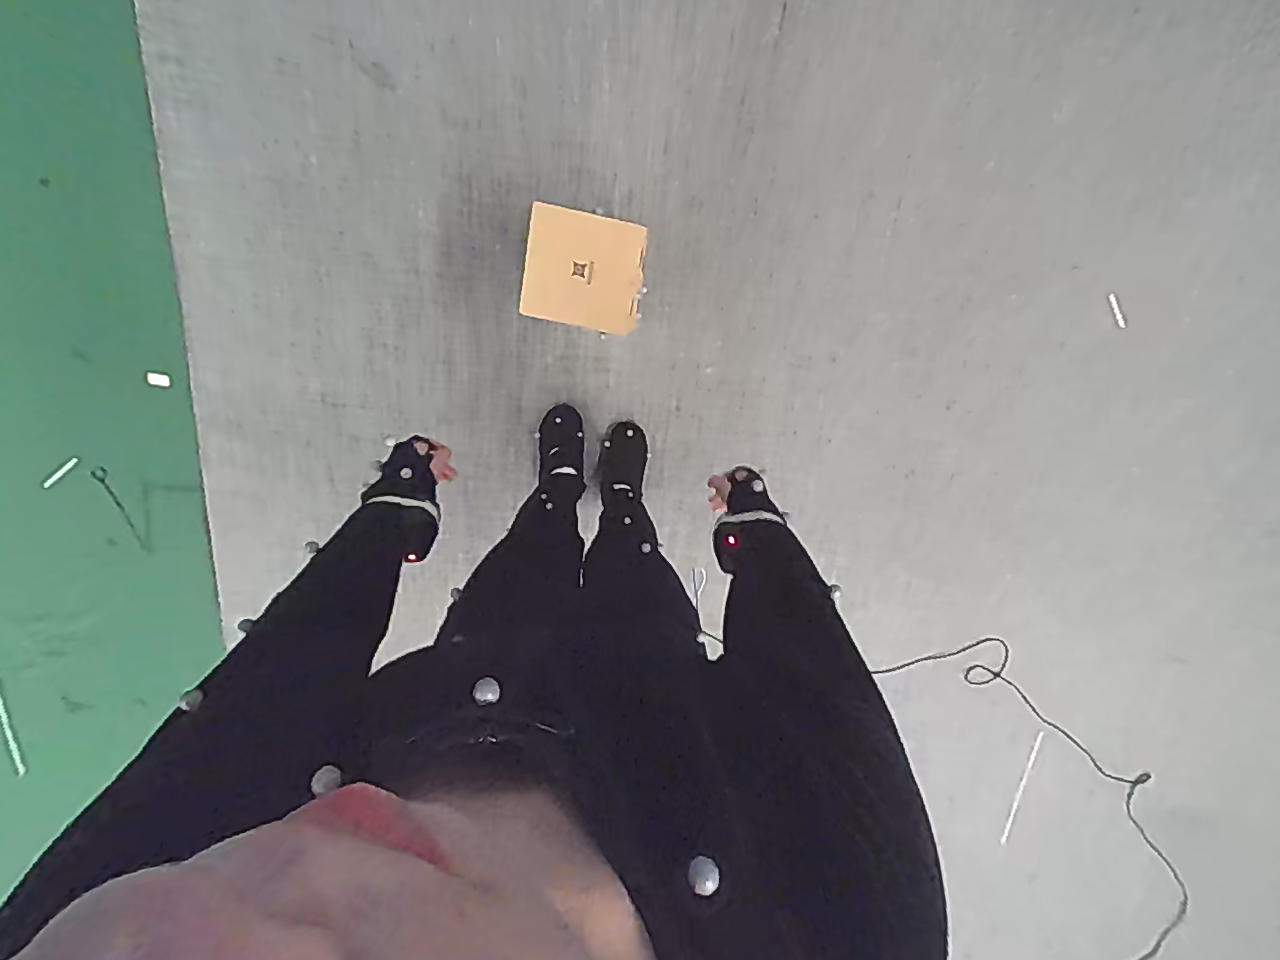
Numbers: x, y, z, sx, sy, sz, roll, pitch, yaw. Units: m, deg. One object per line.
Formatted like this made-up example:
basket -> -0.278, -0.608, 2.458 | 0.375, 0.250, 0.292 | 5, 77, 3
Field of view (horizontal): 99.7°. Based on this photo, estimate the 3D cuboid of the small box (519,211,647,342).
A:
small box -> -0.093, -0.334, 0.914 | 0.179, 0.176, 0.168 | 11, 106, -6
